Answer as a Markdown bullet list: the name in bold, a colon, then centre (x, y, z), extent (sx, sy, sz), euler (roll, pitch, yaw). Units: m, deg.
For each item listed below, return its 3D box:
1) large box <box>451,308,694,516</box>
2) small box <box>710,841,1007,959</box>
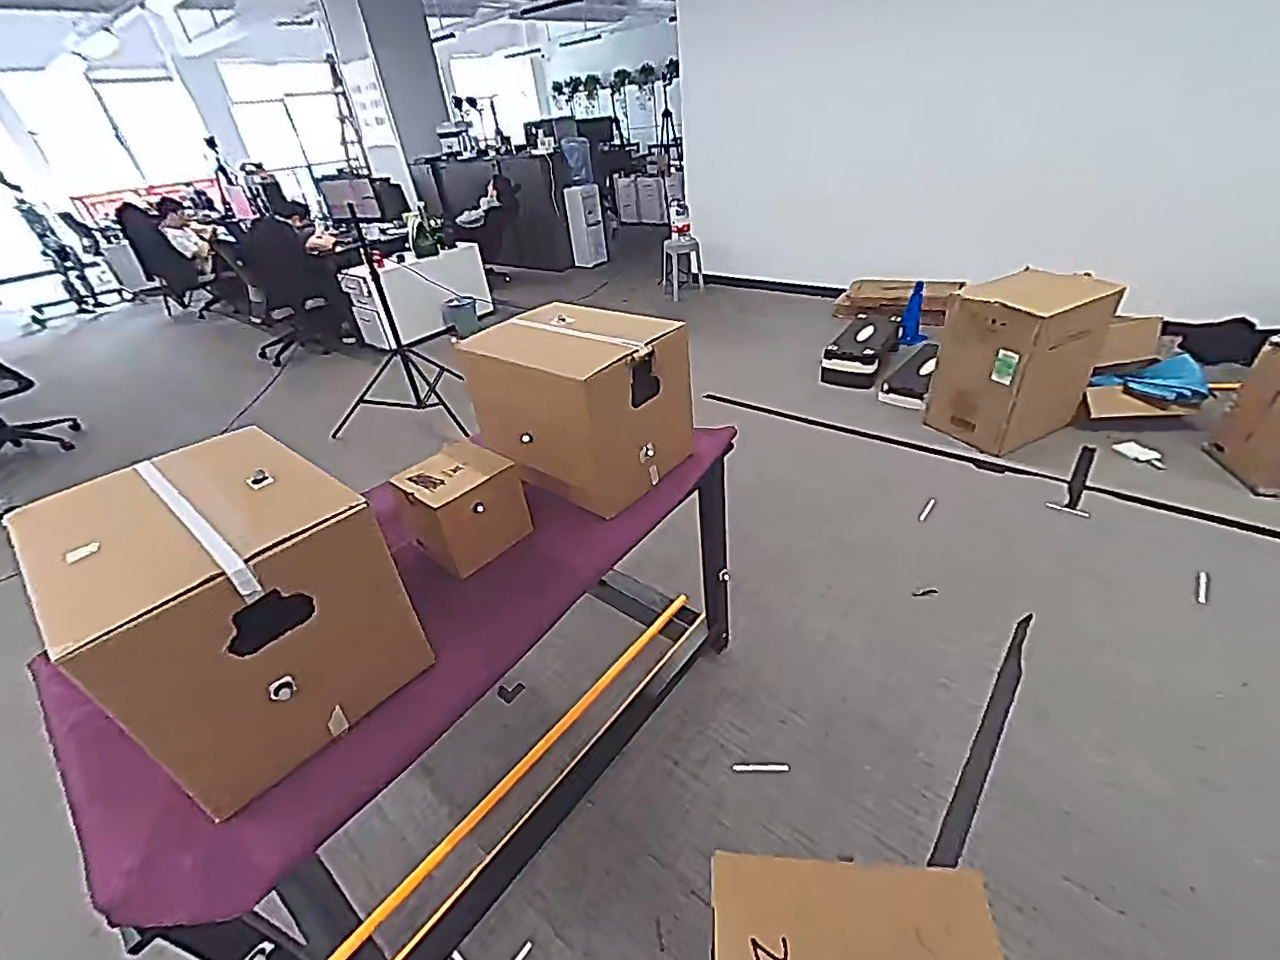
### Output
- **large box**: centre (-0.135, -0.170, 1.205), extent (0.408, 0.320, 0.320), euler (19, 42, 35)
- **small box**: centre (0.136, 0.361, 0.365), extent (0.179, 0.176, 0.168), euler (-1, 47, 8)
